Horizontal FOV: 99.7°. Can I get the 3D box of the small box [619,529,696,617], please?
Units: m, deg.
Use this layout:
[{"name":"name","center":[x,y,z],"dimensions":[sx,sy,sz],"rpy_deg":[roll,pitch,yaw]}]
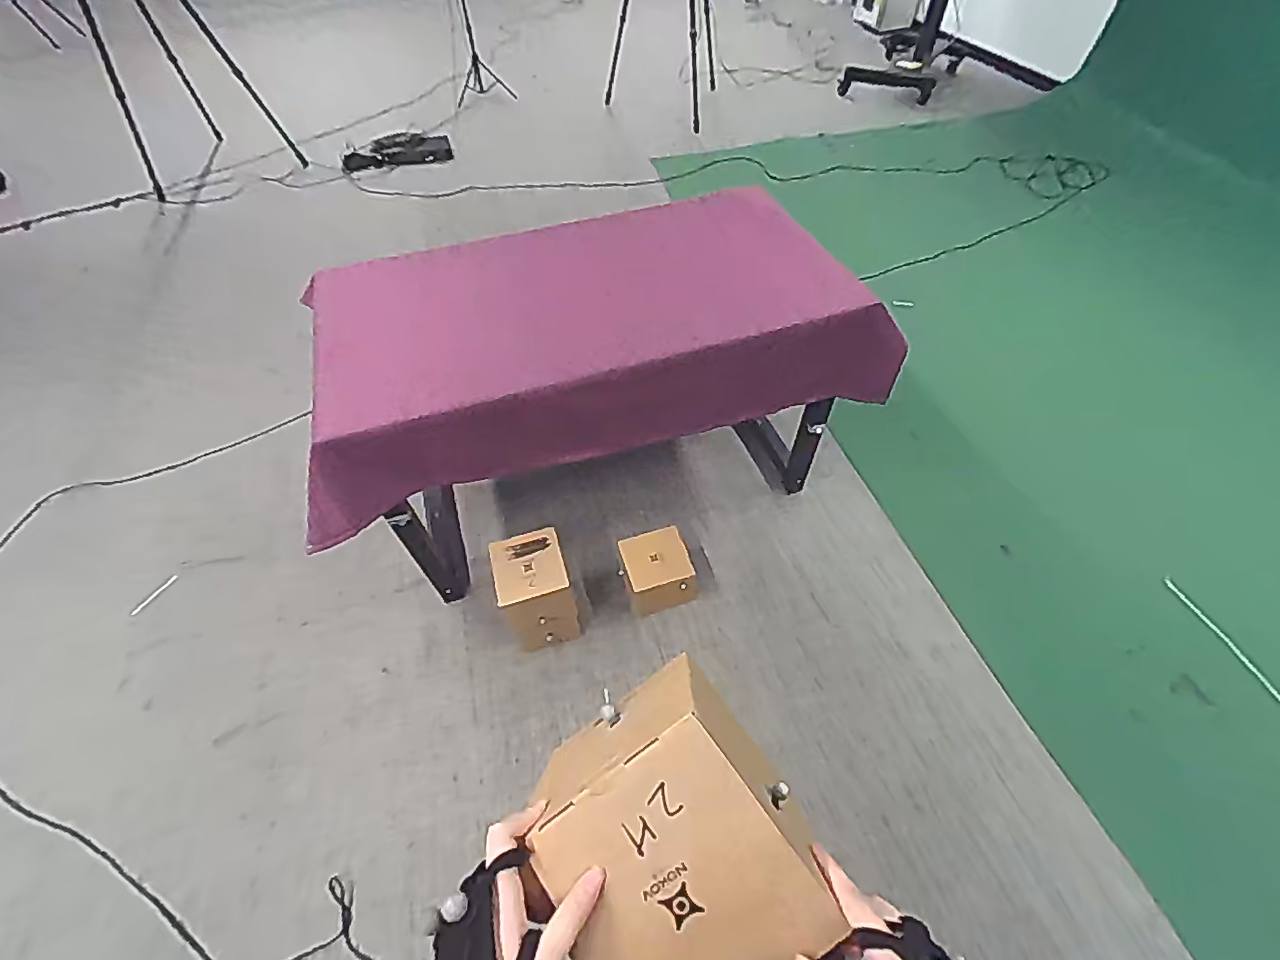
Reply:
[{"name":"small box","center":[0.049,0.269,1.542],"dimensions":[0.179,0.176,0.168],"rpy_deg":[-15,54,-10]}]
